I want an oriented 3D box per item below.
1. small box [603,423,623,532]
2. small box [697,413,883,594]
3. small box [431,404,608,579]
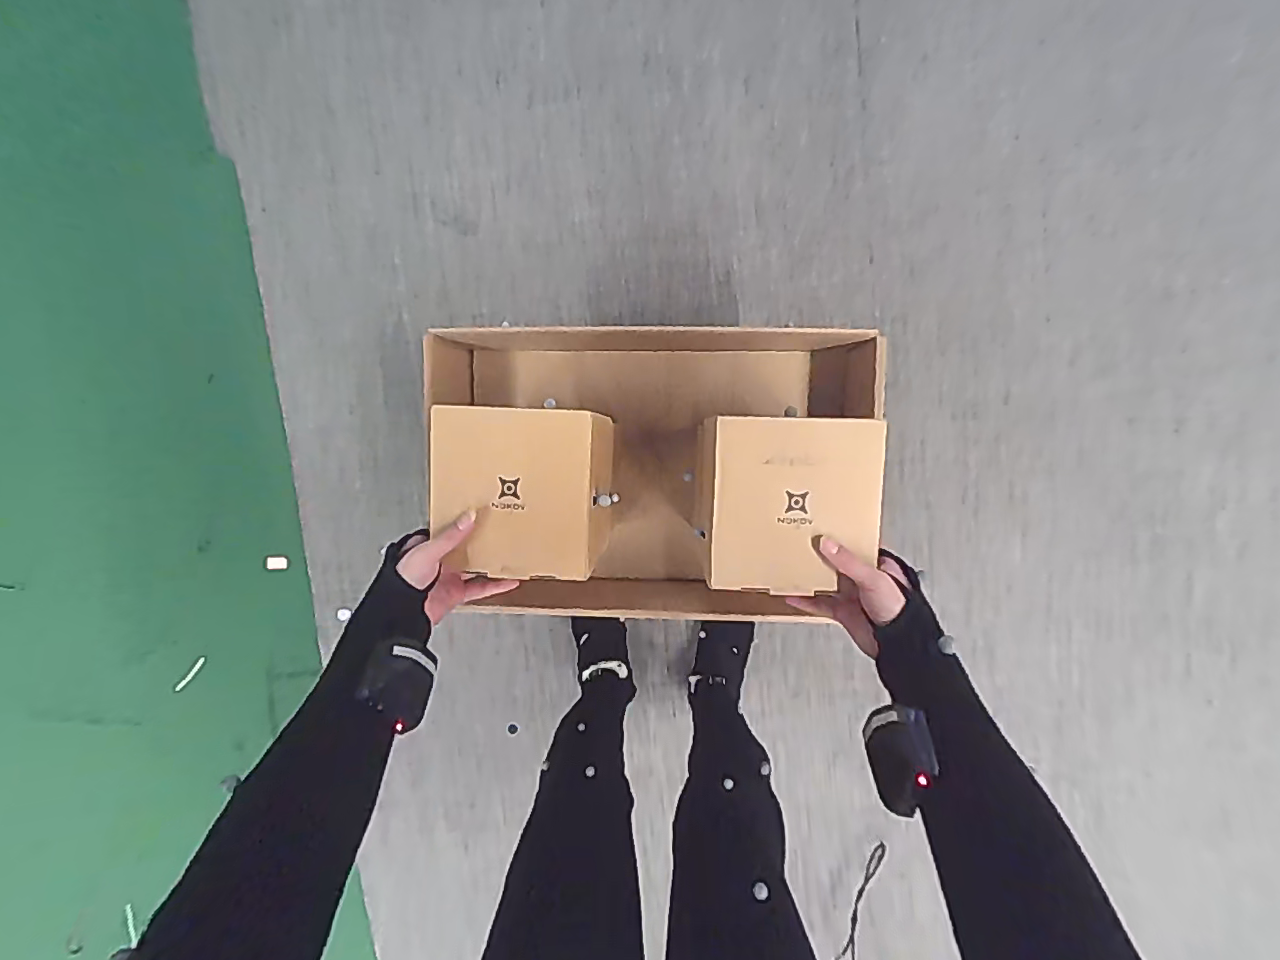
[{"bbox_3d":[-0.125,-0.003,0.797,0.179,0.176,0.168,3,94,4],"label":"small box"},{"bbox_3d":[0.154,0.018,0.611,0.168,0.176,0.179,2,94,2],"label":"small box"},{"bbox_3d":[-0.130,0.007,0.635,0.168,0.176,0.179,2,95,3],"label":"small box"}]
